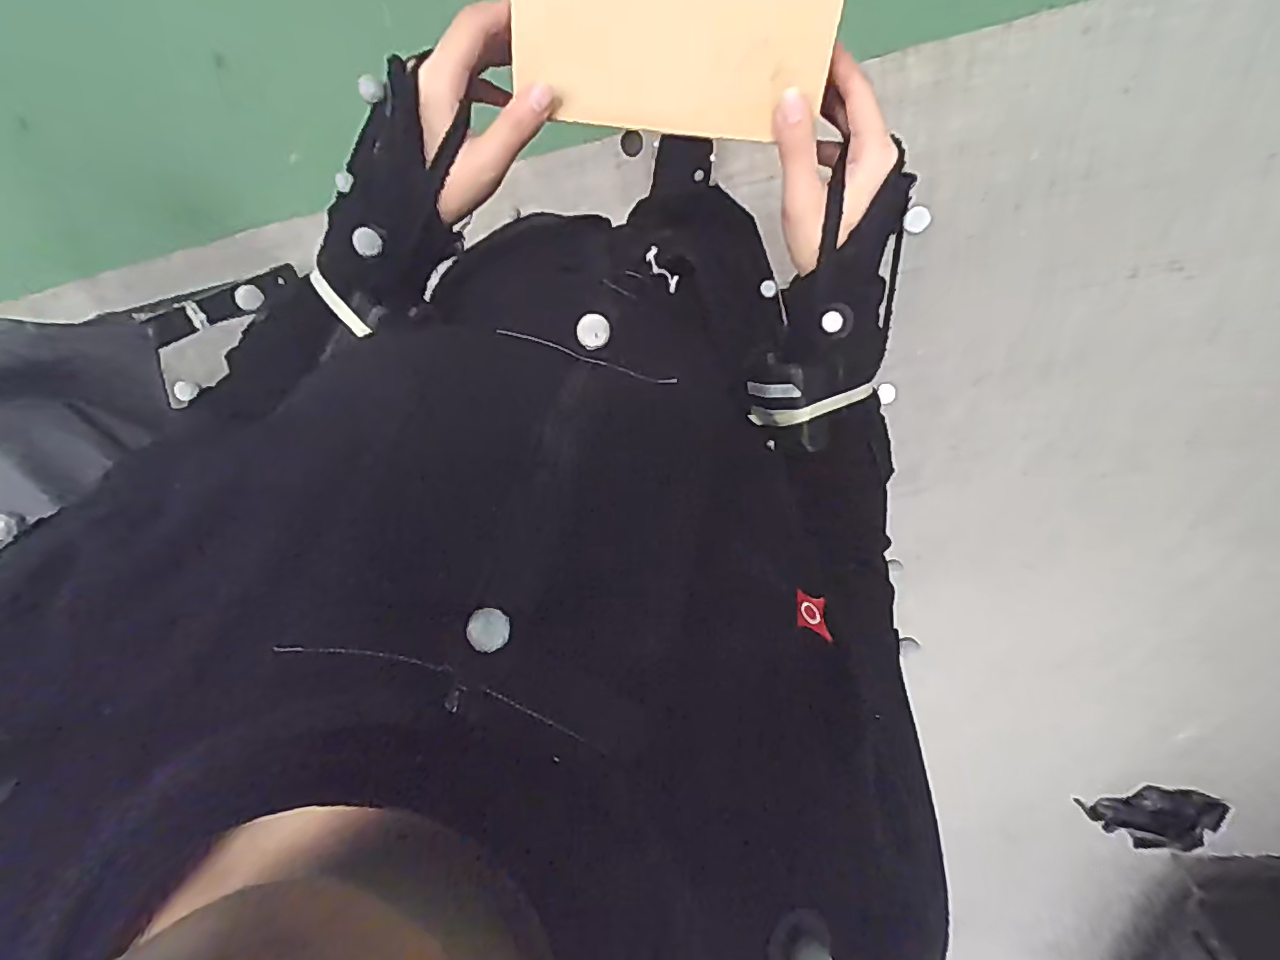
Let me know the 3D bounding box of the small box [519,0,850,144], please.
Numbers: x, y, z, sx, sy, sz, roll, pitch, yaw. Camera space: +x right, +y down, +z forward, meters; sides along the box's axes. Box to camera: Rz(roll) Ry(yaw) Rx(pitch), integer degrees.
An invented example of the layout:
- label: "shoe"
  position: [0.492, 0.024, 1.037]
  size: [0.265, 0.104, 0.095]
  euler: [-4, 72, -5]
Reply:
- label: "small box"
  position: [0.030, -0.308, 0.313]
  size: [0.168, 0.176, 0.179]
  euler: [6, 123, 0]
